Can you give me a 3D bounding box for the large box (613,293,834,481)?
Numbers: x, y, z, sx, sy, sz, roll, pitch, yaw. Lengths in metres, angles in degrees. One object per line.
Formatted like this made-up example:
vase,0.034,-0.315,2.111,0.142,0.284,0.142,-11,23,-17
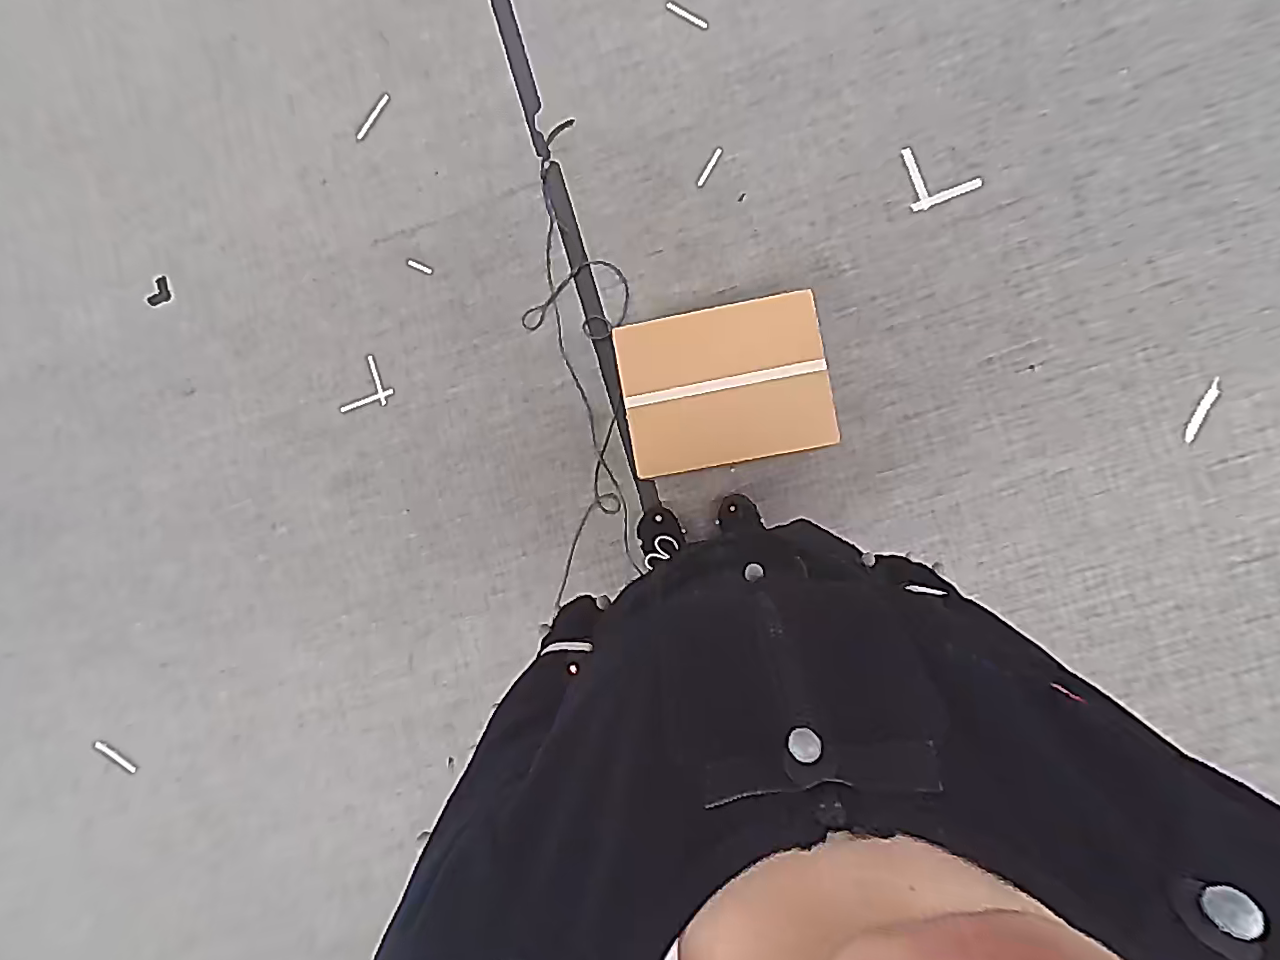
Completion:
large box,0.174,-0.185,1.235,0.408,0.320,0.320,-10,90,4
